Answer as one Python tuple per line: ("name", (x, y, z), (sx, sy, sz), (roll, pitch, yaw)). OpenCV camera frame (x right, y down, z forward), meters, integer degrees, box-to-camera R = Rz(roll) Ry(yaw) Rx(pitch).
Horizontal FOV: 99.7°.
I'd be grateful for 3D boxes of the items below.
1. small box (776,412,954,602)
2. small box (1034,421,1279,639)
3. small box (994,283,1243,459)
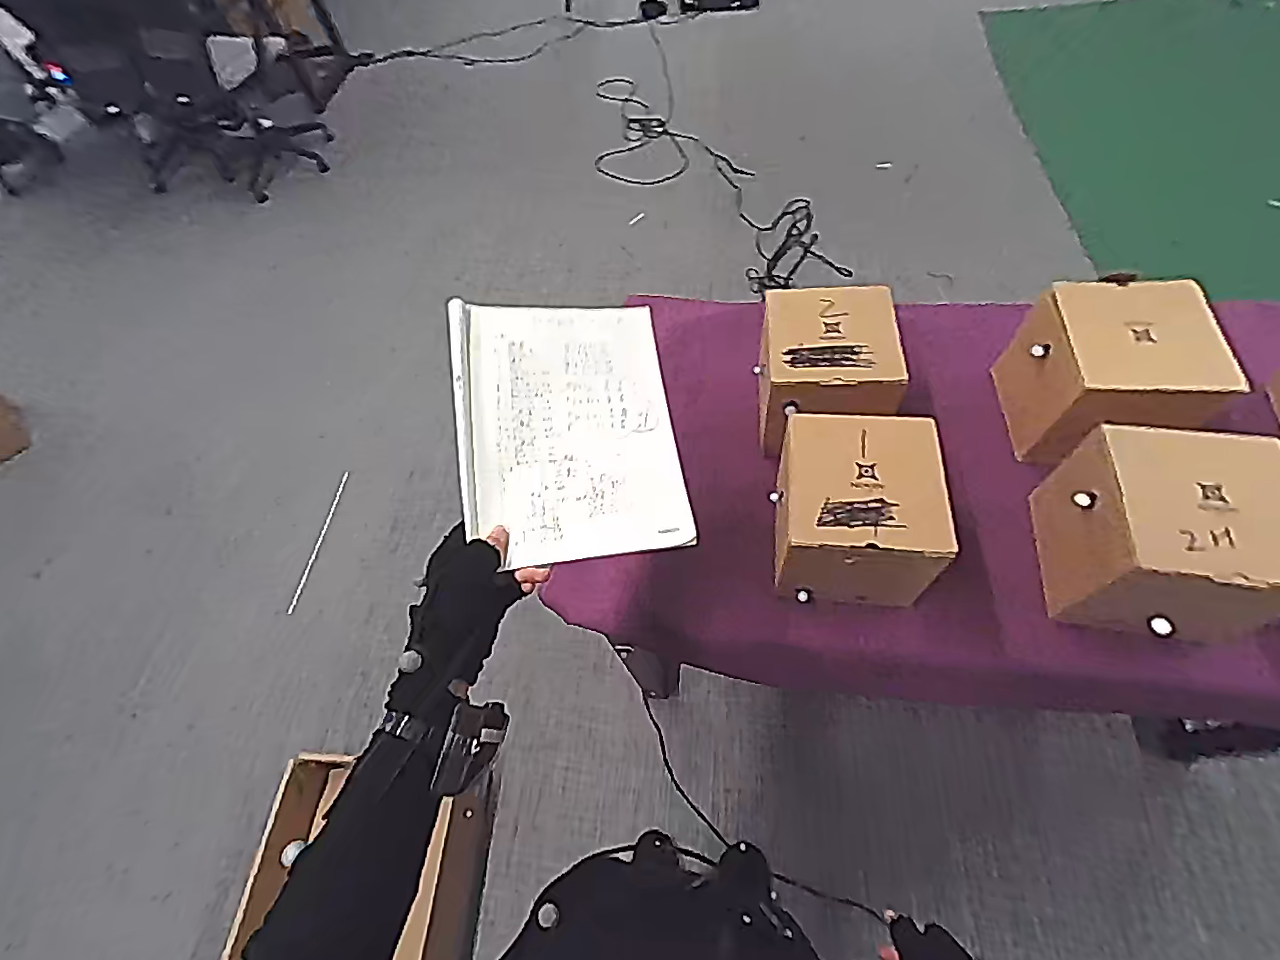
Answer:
("small box", (0.260, 0.038, 0.664), (0.168, 0.176, 0.179), (4, 60, 11))
("small box", (0.578, 0.059, 0.606), (0.168, 0.176, 0.179), (7, 60, 12))
("small box", (0.610, -0.135, 0.722), (0.168, 0.176, 0.179), (2, 59, 9))
